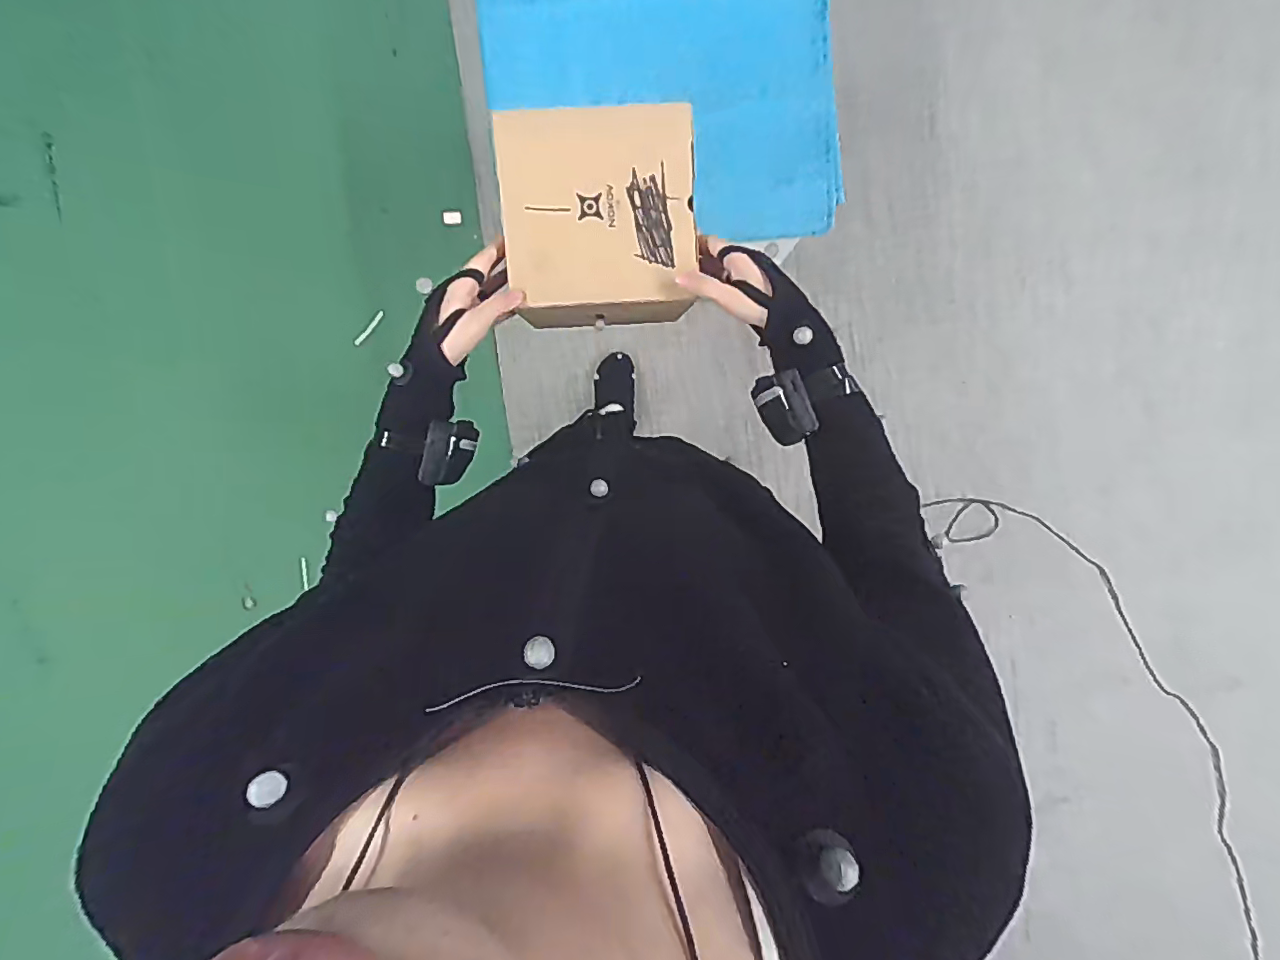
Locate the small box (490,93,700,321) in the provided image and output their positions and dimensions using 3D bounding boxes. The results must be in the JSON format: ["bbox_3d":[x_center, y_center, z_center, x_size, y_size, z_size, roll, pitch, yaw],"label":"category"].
[{"bbox_3d":[-0.042,-0.259,0.549,0.179,0.176,0.168,-4,99,-3],"label":"small box"}]
